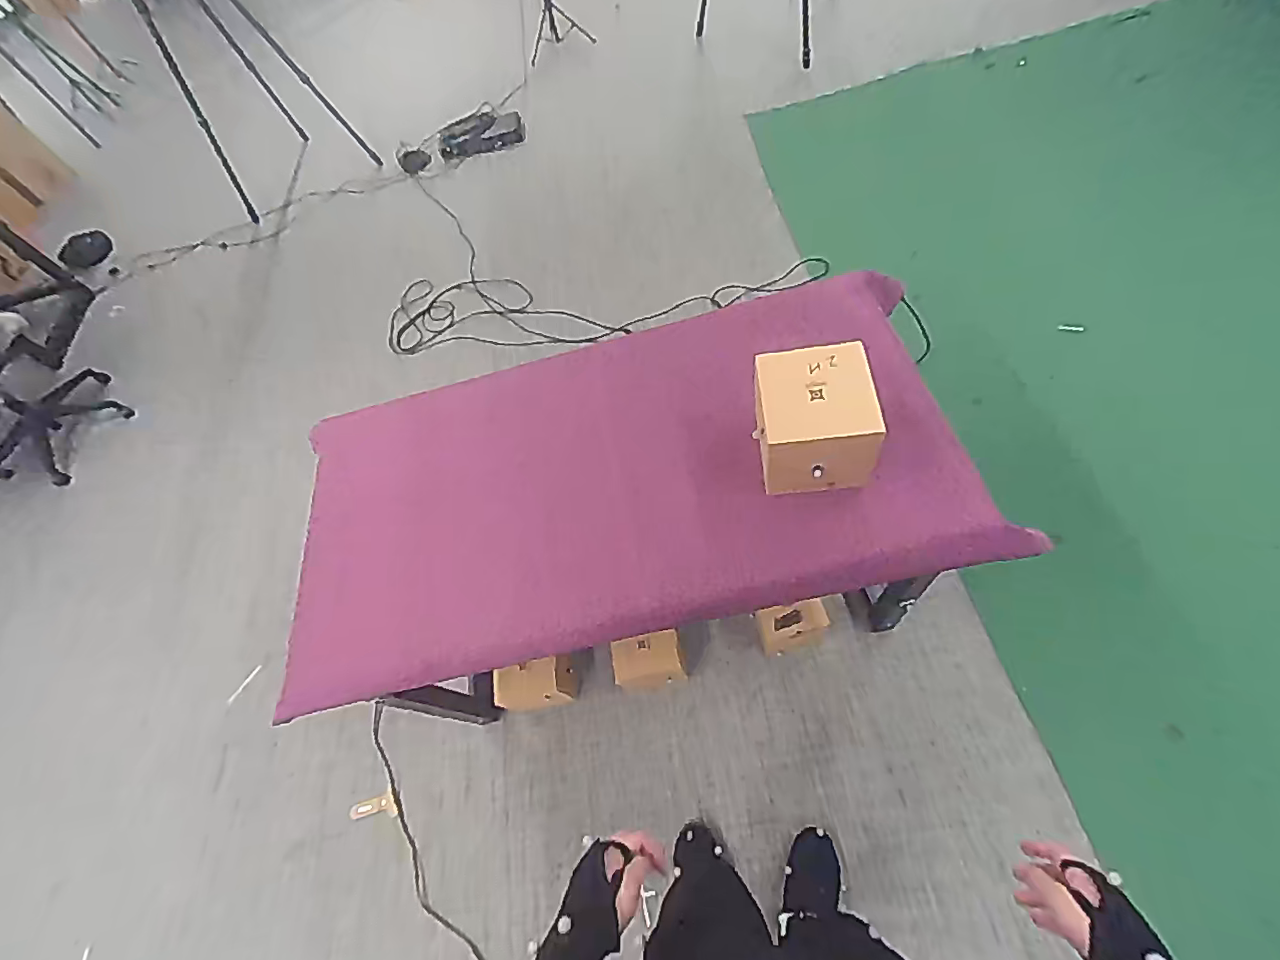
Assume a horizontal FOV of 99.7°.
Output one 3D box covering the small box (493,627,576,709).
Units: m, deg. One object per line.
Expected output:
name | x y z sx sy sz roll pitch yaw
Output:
small box | -0.294 0.528 1.507 0.179 0.176 0.168 -14 59 4

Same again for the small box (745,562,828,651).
small box | 0.389 0.347 1.450 0.168 0.176 0.179 -16 58 3

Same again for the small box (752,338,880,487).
small box | 0.276 -0.098 0.877 0.168 0.176 0.179 -6 60 10

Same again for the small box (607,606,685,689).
small box | 0.022 0.460 1.472 0.179 0.176 0.168 -14 58 6
